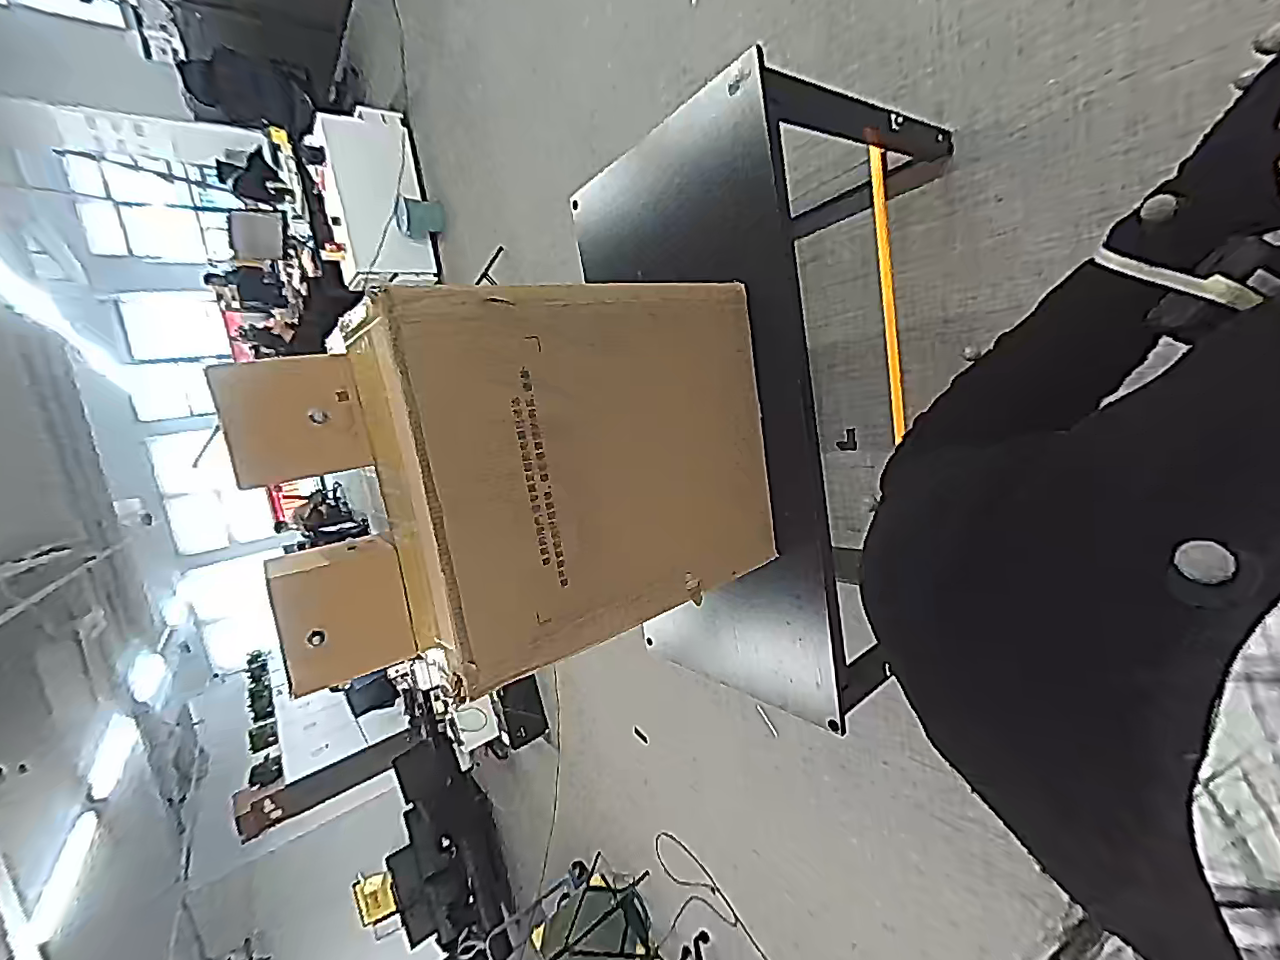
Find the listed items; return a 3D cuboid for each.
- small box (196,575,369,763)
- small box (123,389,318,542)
[{"bbox_3d":[-0.504,0.255,0.777,0.168,0.176,0.179,4,104,54],"label":"small box"},{"bbox_3d":[-0.558,-0.024,0.744,0.179,0.176,0.168,1,105,55],"label":"small box"}]
